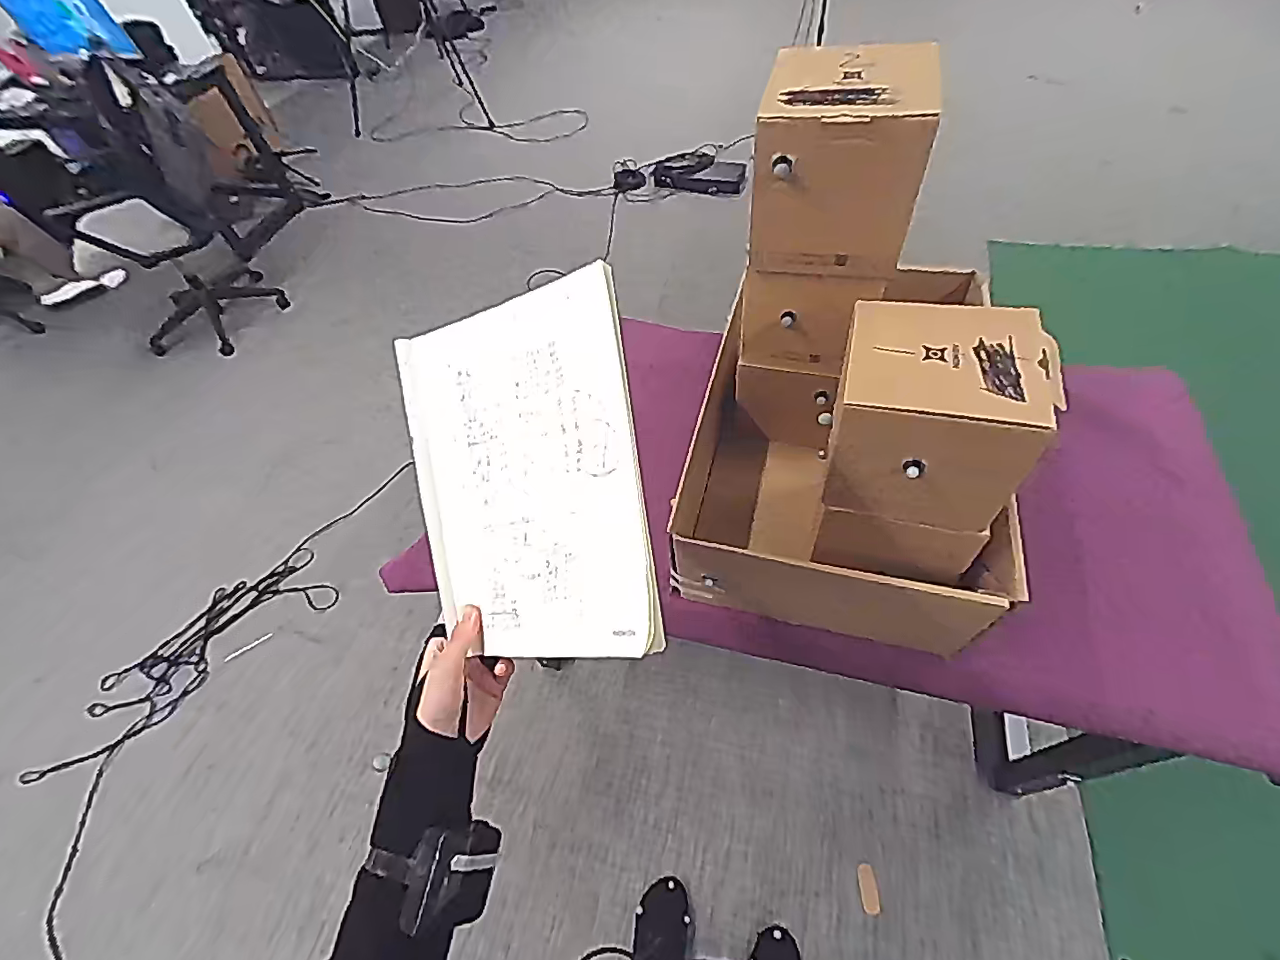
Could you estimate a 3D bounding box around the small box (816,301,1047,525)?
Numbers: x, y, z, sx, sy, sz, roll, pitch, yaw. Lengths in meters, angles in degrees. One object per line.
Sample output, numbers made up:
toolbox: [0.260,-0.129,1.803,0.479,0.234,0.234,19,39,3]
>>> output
small box: [0.300,-0.070,0.590,0.179,0.176,0.168,10,54,17]

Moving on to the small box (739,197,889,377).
small box: [0.237,-0.266,0.755,0.168,0.176,0.179,11,57,15]
